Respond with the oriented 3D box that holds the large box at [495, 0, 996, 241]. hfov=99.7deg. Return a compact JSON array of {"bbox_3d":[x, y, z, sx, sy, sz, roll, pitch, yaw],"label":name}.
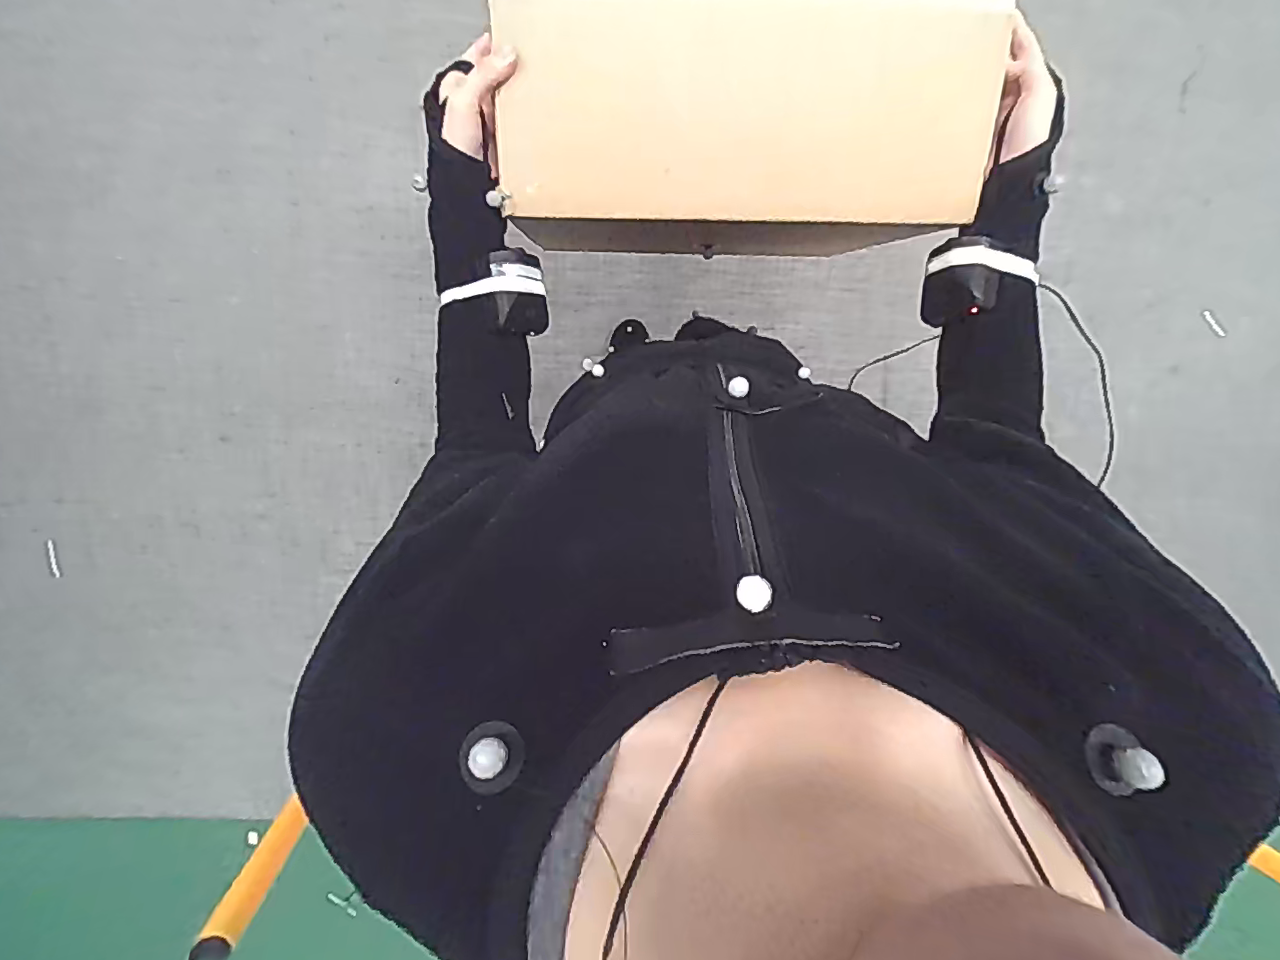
[{"bbox_3d":[0.081,-0.427,0.561,0.408,0.320,0.320,-1,108,-3],"label":"large box"}]
